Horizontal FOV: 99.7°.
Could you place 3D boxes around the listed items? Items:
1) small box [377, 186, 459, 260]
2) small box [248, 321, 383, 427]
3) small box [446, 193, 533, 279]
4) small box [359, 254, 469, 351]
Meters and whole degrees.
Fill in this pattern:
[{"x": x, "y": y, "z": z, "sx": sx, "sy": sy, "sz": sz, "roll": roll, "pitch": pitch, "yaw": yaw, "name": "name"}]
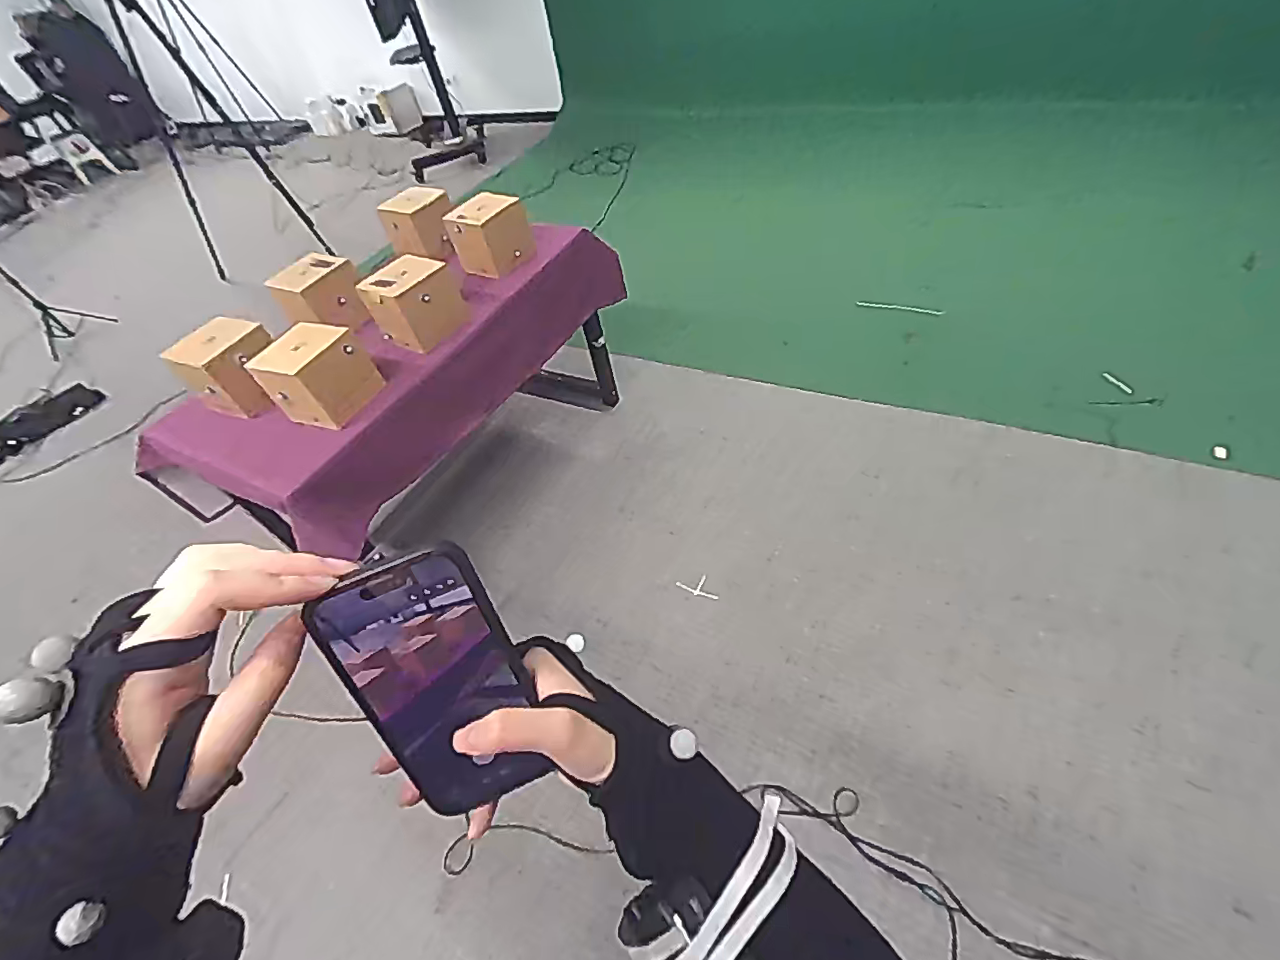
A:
[{"x": -0.708, "y": -0.833, "z": 1.765, "sx": 0.179, "sy": 0.176, "sz": 0.168, "roll": 21, "pitch": 57, "yaw": 25, "name": "small box"}, {"x": -0.743, "y": -0.245, "z": 1.262, "sx": 0.168, "sy": 0.176, "sz": 0.179, "roll": 12, "pitch": 52, "yaw": 21, "name": "small box"}, {"x": -0.442, "y": -0.737, "z": 1.629, "sx": 0.168, "sy": 0.176, "sz": 0.179, "roll": 23, "pitch": 57, "yaw": 28, "name": "small box"}, {"x": -0.584, "y": -0.465, "z": 1.421, "sx": 0.168, "sy": 0.176, "sz": 0.179, "roll": 23, "pitch": 56, "yaw": 27, "name": "small box"}]
